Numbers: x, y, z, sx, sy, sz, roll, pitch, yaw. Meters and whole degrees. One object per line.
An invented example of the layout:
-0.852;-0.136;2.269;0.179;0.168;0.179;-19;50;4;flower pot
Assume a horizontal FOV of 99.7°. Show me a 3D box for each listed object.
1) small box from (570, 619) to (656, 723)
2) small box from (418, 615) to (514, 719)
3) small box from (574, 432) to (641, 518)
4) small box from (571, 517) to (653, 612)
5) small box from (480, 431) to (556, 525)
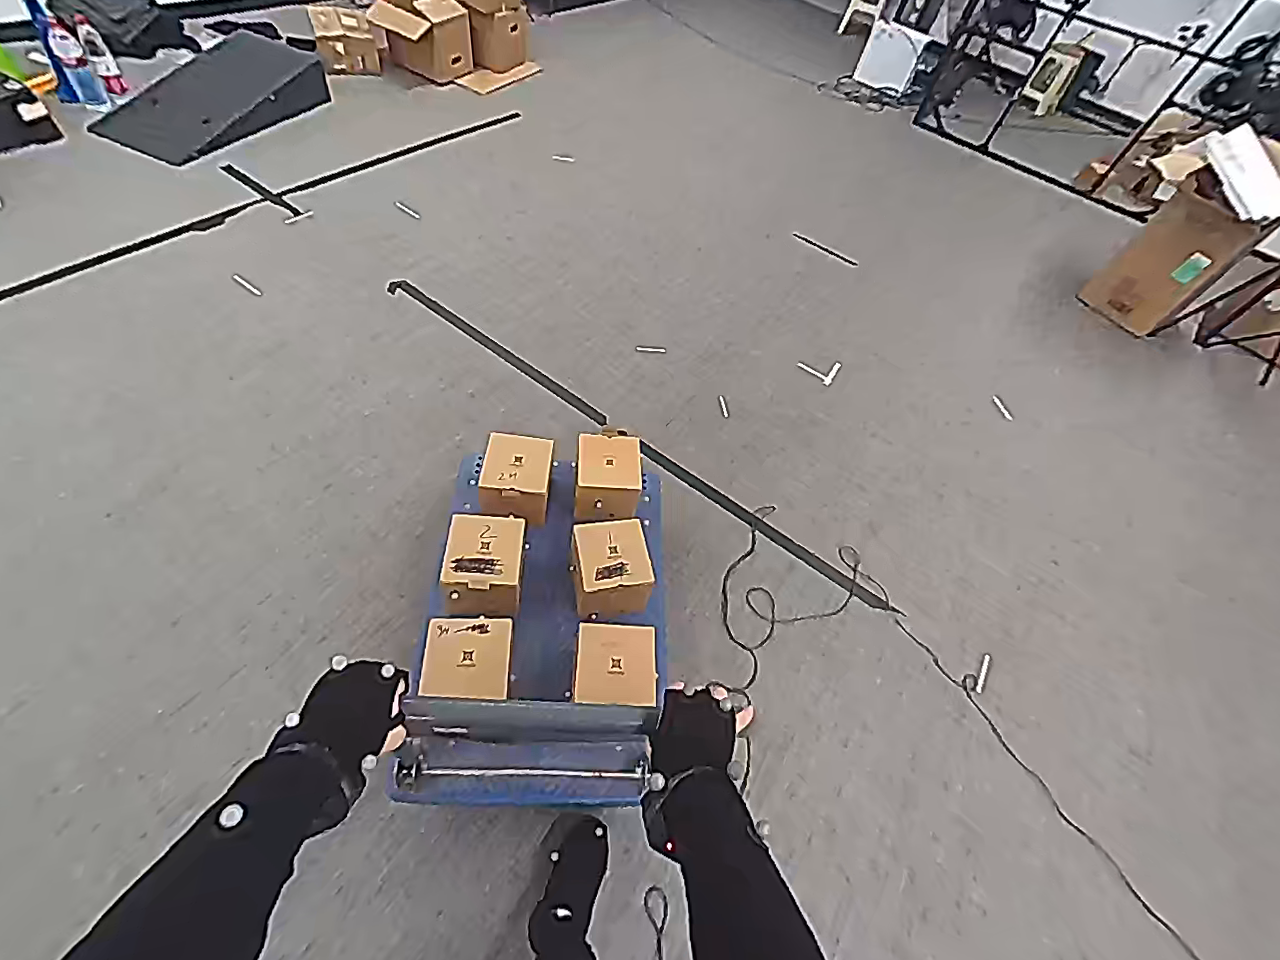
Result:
-0.061;0.424;1.184;0.168;0.176;0.179;7;53;-9;small box
-0.354;0.397;1.137;0.168;0.176;0.179;4;54;-11;small box
-0.093;-0.008;1.491;0.168;0.176;0.179;3;54;-10;small box
-0.076;0.213;1.333;0.168;0.176;0.179;-4;55;-15;small box
-0.321;-0.003;1.434;0.168;0.176;0.179;7;54;-7;small box
